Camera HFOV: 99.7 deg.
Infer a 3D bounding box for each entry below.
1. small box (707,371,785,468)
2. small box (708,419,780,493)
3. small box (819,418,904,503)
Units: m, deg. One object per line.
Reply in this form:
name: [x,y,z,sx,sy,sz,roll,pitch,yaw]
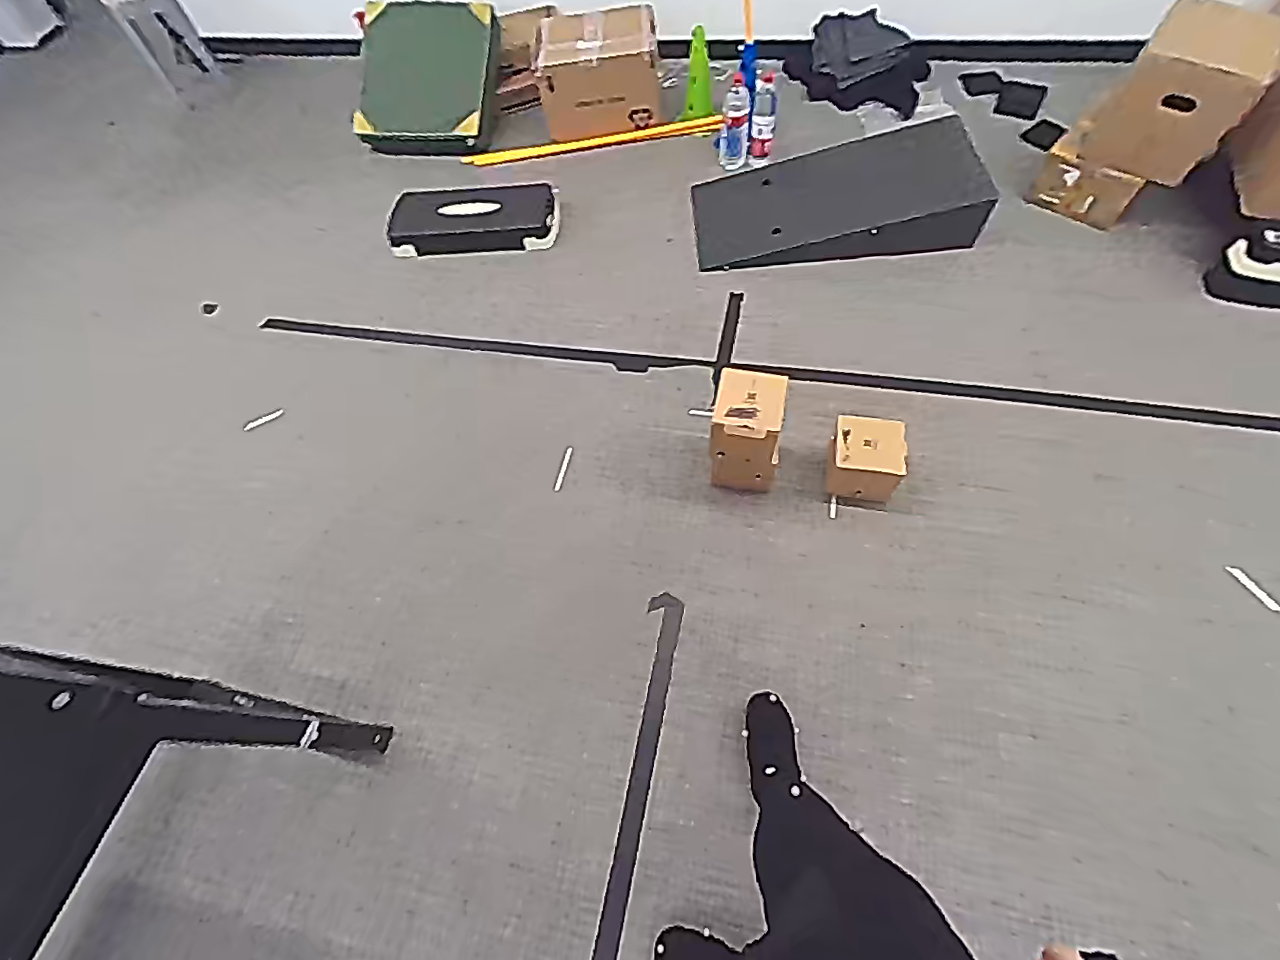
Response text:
small box: [0.269,-0.152,1.391,0.168,0.176,0.179,10,62,10]
small box: [0.291,-0.076,1.535,0.179,0.176,0.168,7,63,9]
small box: [0.607,-0.049,1.491,0.179,0.176,0.168,8,63,9]
